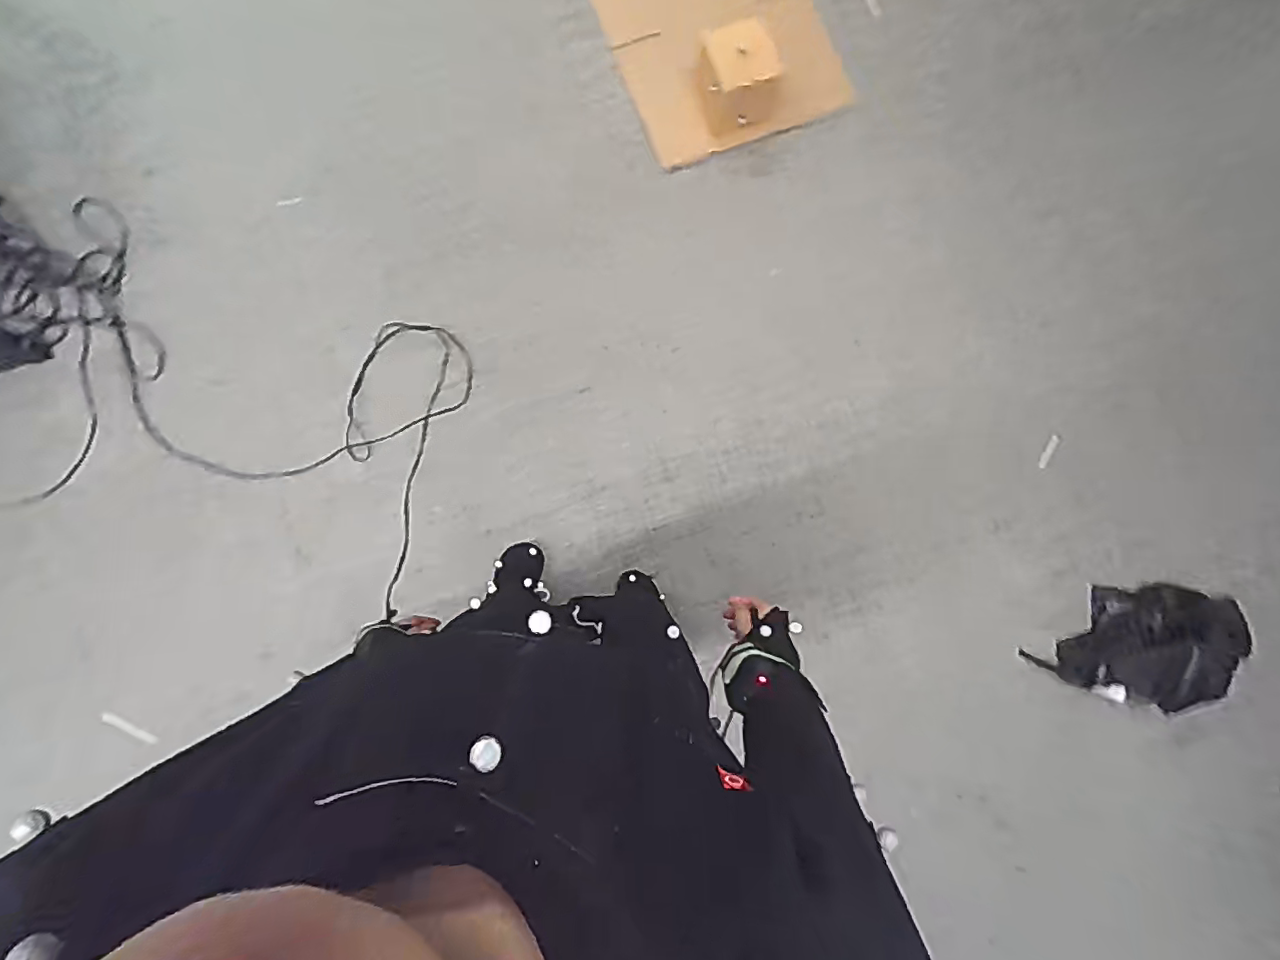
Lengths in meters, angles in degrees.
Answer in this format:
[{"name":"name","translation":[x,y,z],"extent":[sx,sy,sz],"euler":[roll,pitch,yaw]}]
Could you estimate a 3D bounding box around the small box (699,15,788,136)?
[{"name":"small box","translation":[0.267,-1.070,1.440],"extent":[0.168,0.176,0.179],"euler":[-19,84,-4]}]
